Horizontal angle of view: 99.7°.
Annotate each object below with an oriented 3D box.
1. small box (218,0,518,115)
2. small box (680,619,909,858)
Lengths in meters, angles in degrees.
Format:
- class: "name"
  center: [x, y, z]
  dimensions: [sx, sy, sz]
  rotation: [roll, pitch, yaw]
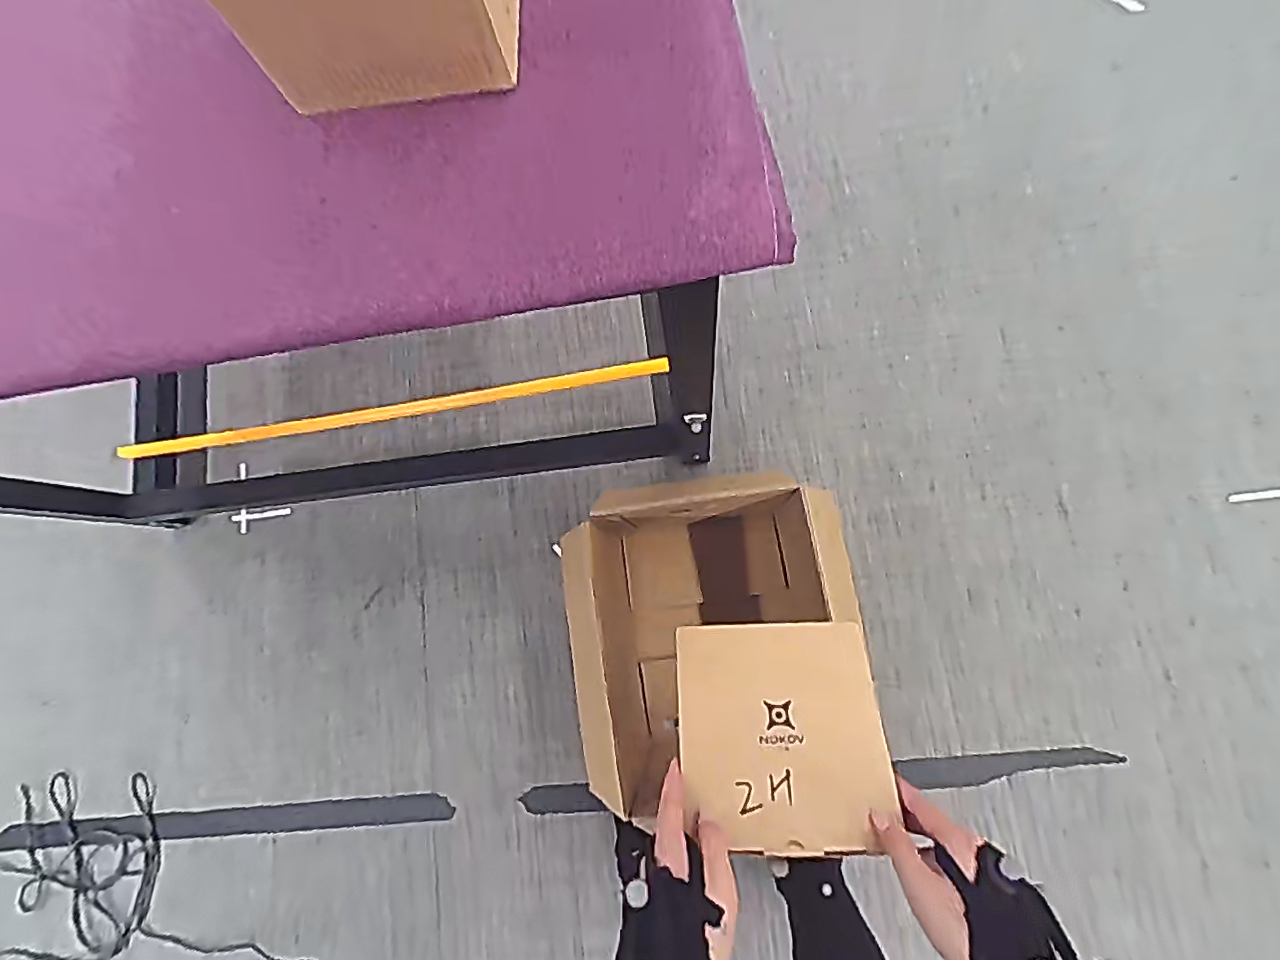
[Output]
- class: "small box"
  center: [-0.182, -0.380, 0.351]
  dimensions: [0.179, 0.176, 0.168]
  rotation: [-3, 78, 7]
- class: "small box"
  center: [0.122, 0.245, 0.507]
  dimensions: [0.168, 0.176, 0.179]
  rotation: [-3, 55, 5]
